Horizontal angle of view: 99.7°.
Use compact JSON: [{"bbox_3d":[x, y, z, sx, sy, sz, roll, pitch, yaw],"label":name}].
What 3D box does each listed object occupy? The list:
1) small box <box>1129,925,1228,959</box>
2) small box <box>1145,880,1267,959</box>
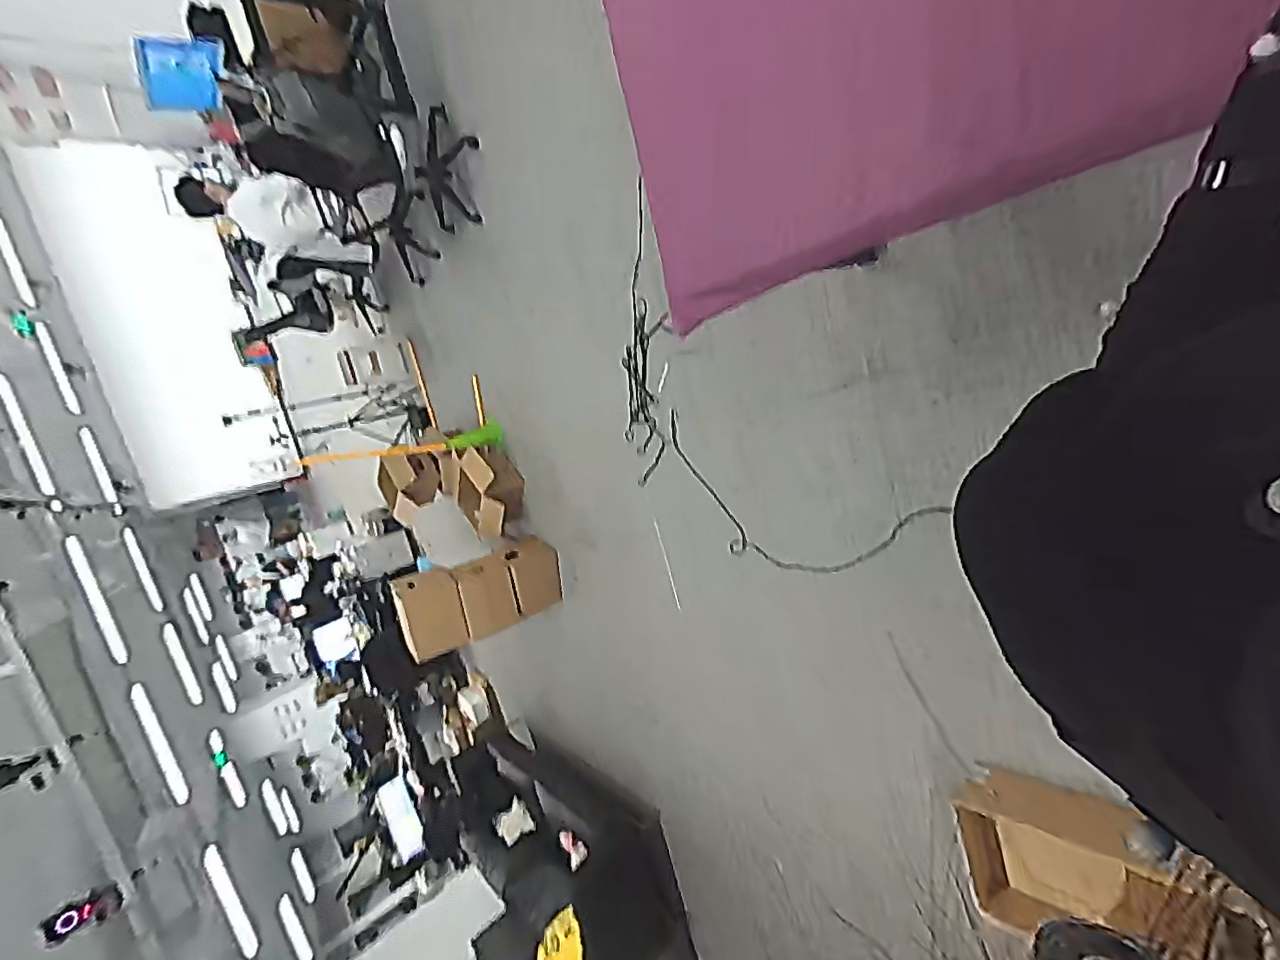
[{"bbox_3d":[1.178,1.118,1.156,0.179,0.176,0.168,-10,96,56],"label":"small box"},{"bbox_3d":[1.309,1.086,1.248,0.168,0.176,0.179,-12,96,56],"label":"small box"}]
